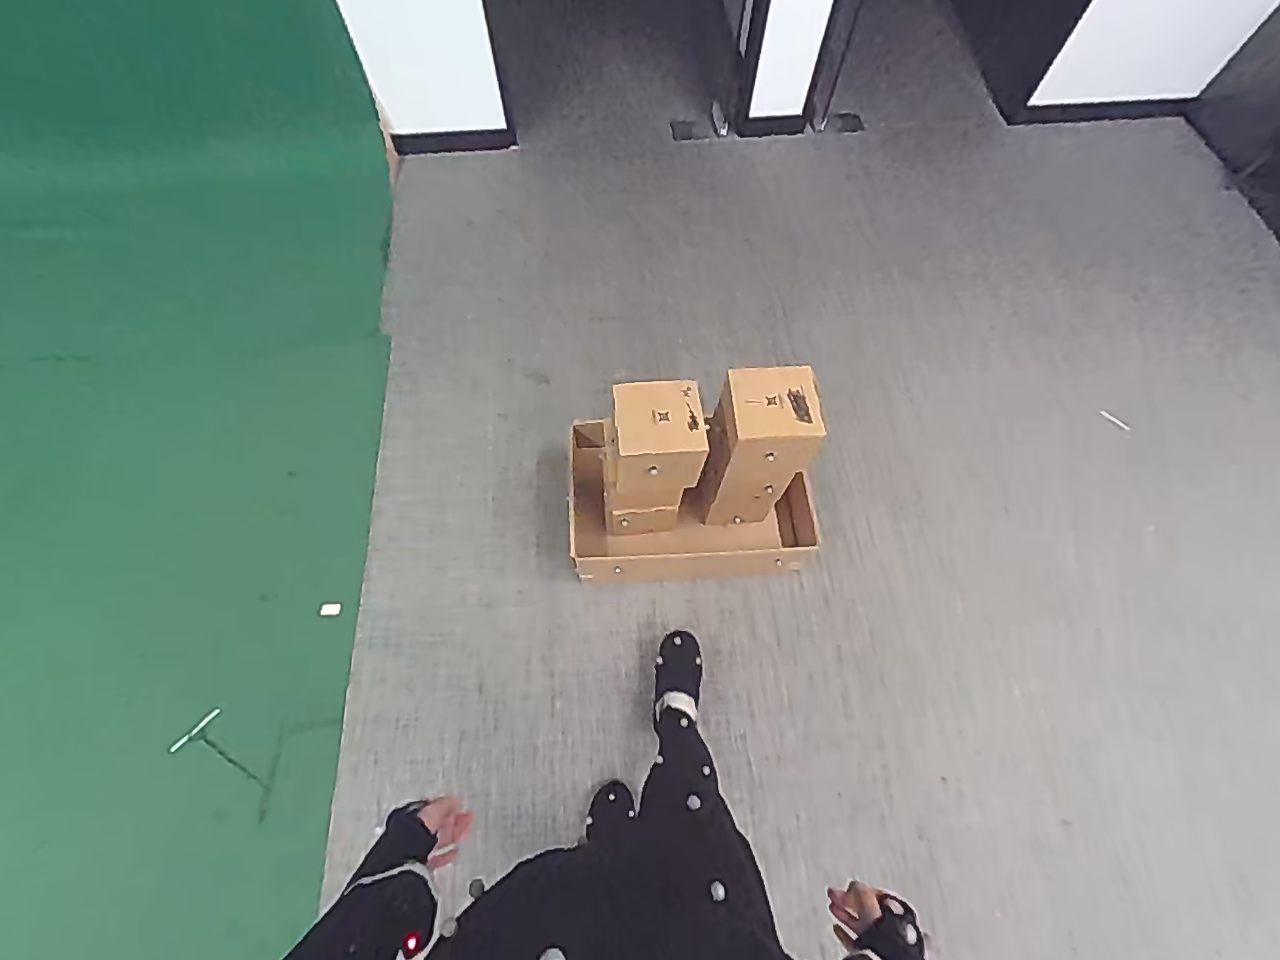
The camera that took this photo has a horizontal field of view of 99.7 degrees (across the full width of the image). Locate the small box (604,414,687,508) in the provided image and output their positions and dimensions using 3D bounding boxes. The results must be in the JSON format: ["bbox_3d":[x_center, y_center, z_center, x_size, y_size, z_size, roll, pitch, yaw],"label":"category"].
[{"bbox_3d":[0.007,-0.040,1.288,0.179,0.176,0.168,-4,66,-5],"label":"small box"}]

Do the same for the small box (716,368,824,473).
[{"bbox_3d":[0.267,-0.122,1.150,0.179,0.176,0.168,-2,65,-2],"label":"small box"}]

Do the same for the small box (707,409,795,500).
[{"bbox_3d":[0.259,-0.057,1.300,0.168,0.176,0.179,-2,65,-2],"label":"small box"}]
